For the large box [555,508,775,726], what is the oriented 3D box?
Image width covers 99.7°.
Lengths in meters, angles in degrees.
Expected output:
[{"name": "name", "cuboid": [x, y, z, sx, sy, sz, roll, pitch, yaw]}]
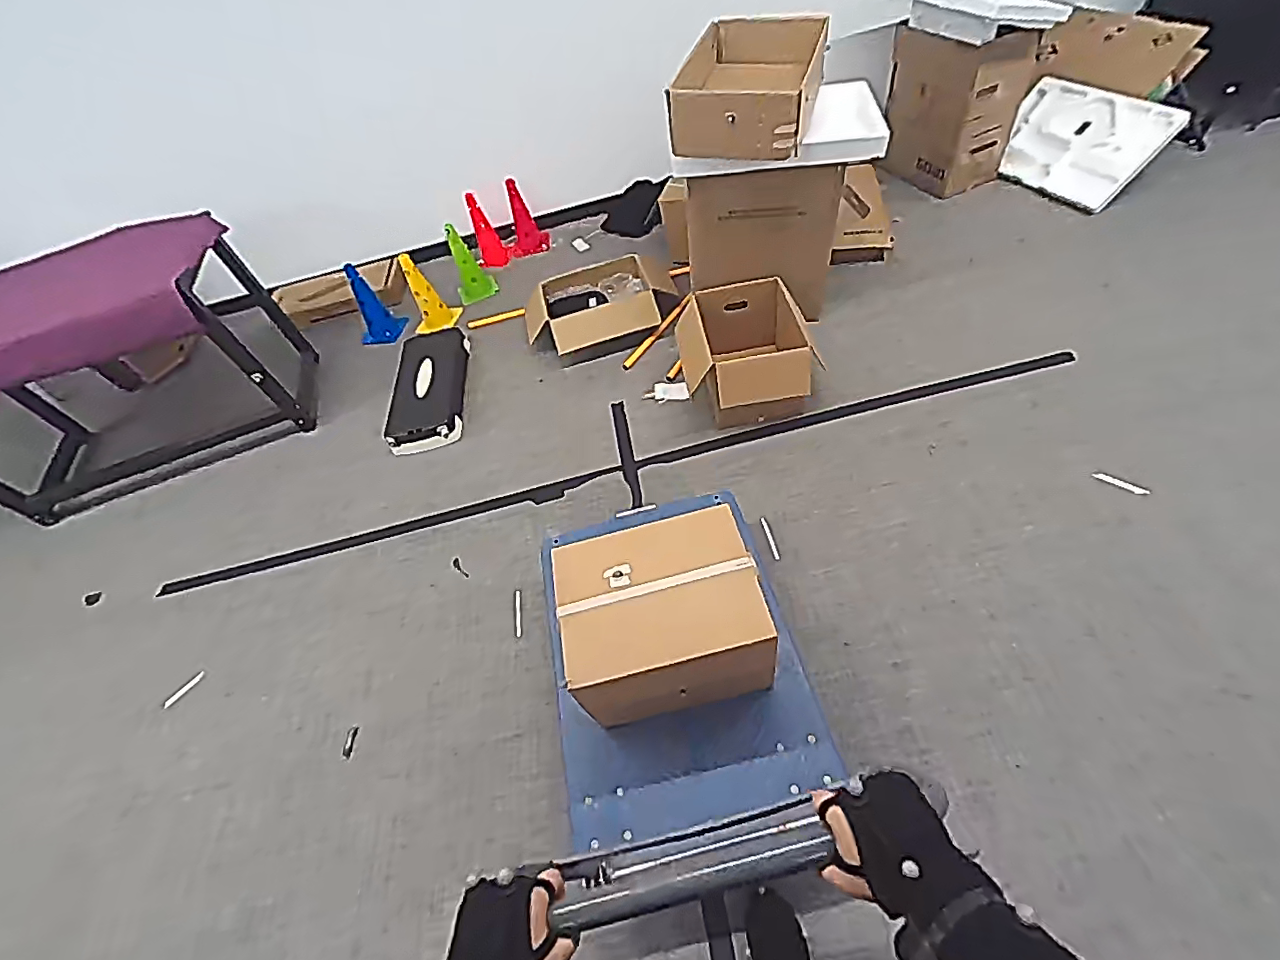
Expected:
[{"name": "large box", "cuboid": [0.059, 0.319, 1.226, 0.408, 0.320, 0.320, -16, 51, 1]}]
